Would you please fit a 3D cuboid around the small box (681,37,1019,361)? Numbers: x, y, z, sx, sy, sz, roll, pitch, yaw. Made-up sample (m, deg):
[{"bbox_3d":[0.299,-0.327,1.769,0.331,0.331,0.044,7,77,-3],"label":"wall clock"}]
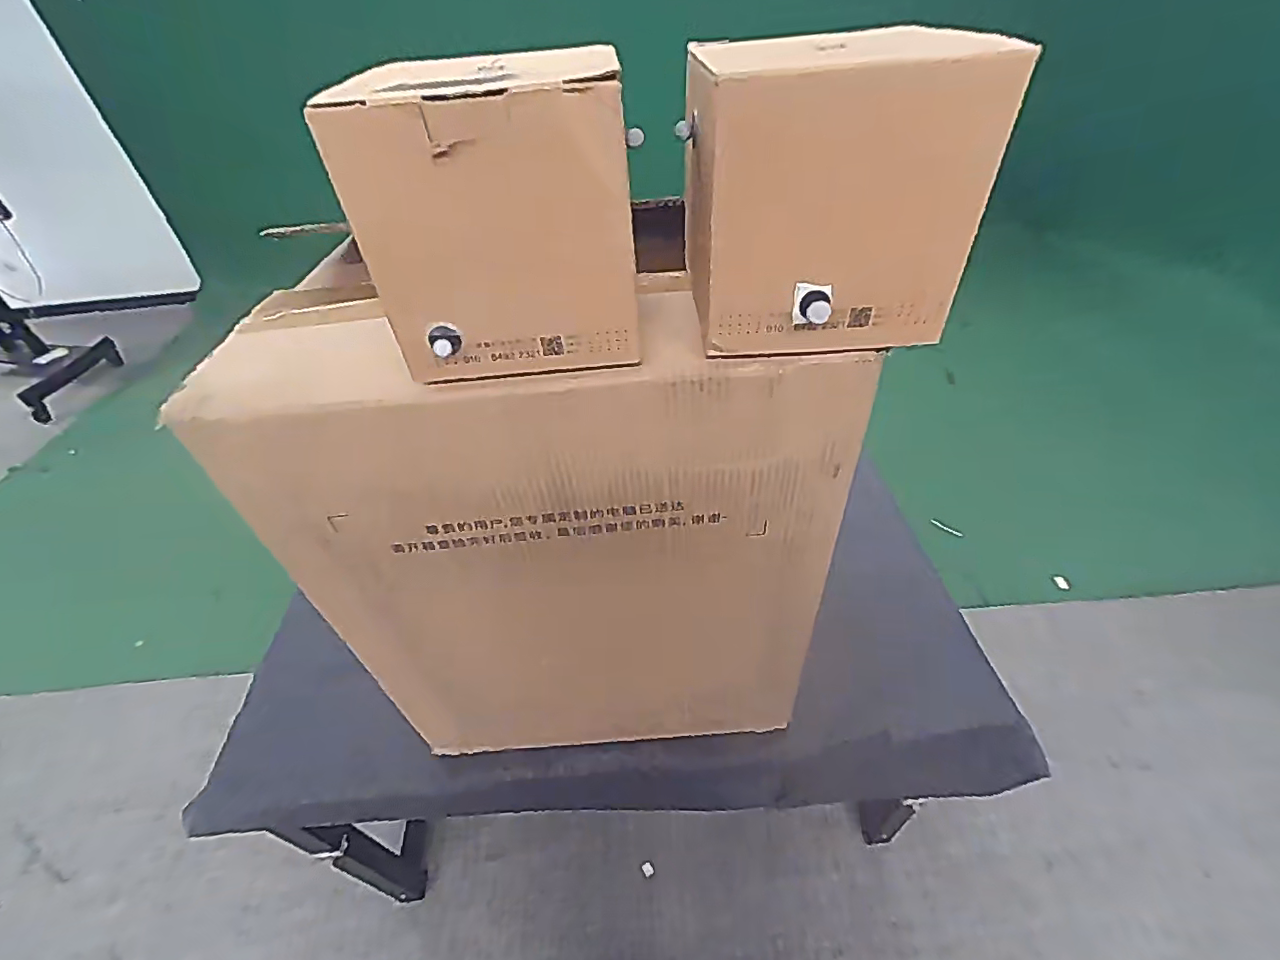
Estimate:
[{"bbox_3d":[0.119,-0.207,0.399,0.168,0.176,0.179,-6,43,0],"label":"small box"}]
